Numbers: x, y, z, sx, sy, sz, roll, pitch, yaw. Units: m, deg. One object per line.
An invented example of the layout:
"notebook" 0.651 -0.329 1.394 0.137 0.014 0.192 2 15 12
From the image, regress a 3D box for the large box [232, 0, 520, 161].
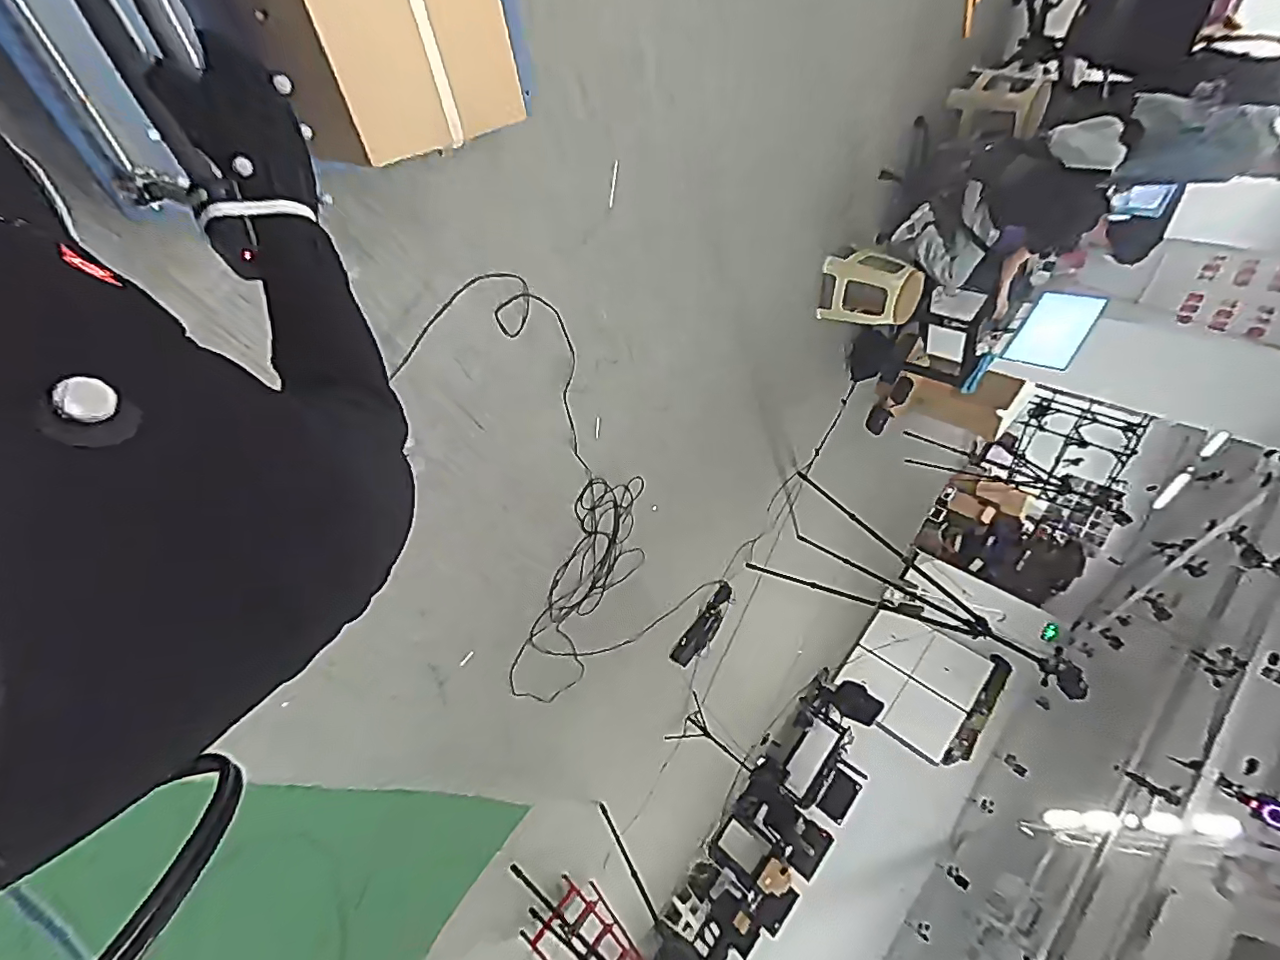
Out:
"large box" -0.457 -0.790 0.879 0.320 0.320 0.408 -38 138 -27
